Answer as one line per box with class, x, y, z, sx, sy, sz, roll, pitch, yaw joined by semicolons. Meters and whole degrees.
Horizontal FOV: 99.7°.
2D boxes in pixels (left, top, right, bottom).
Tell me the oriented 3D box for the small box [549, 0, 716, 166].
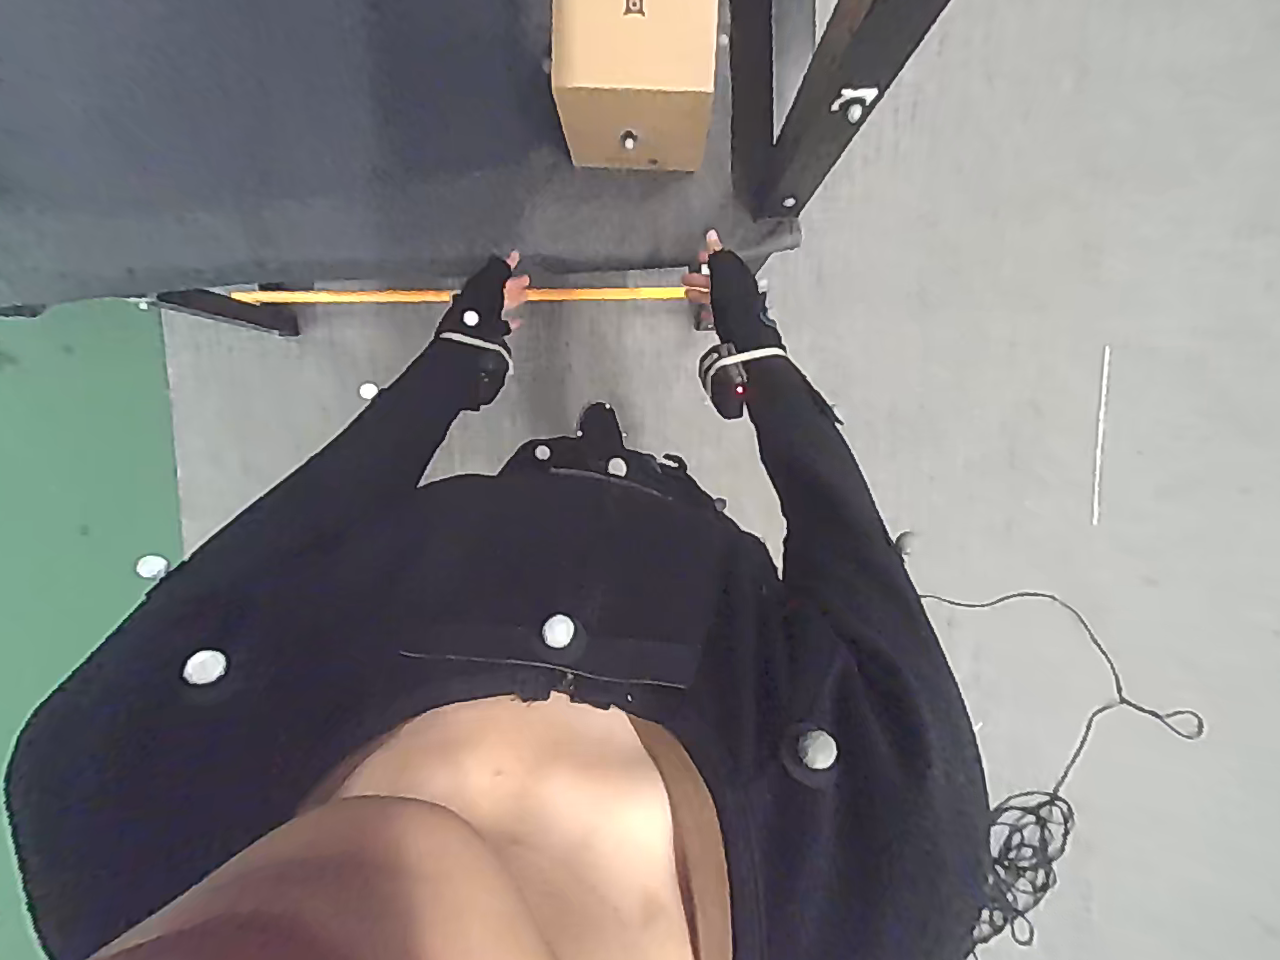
small box;-0.004;-0.486;0.615;0.168;0.176;0.179;3;95;0
